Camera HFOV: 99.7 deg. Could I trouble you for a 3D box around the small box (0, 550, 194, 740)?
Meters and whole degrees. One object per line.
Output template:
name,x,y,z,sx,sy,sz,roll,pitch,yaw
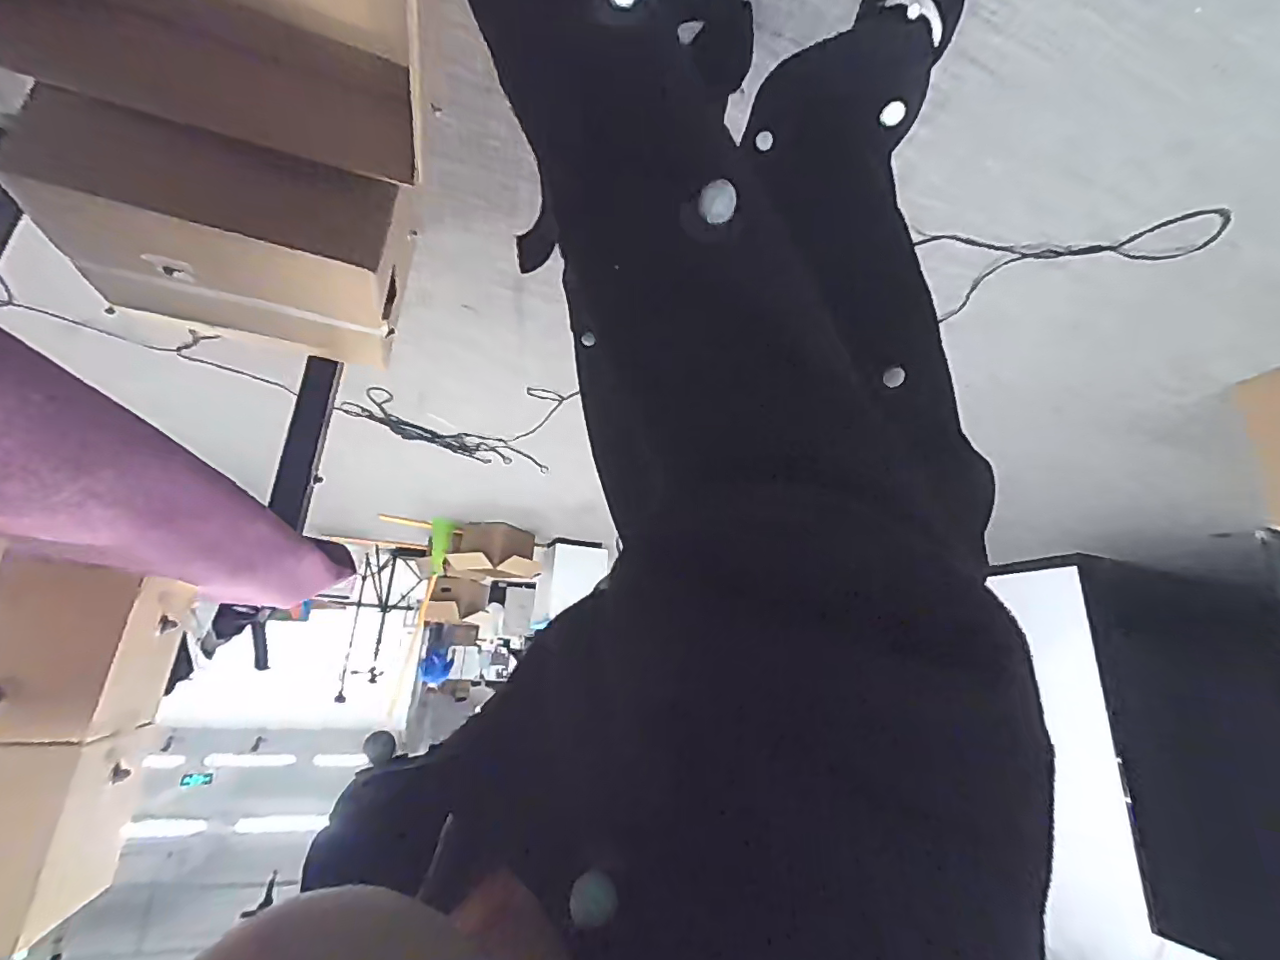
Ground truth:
small box,-0.620,0.169,0.566,0.179,0.176,0.168,10,160,-20
